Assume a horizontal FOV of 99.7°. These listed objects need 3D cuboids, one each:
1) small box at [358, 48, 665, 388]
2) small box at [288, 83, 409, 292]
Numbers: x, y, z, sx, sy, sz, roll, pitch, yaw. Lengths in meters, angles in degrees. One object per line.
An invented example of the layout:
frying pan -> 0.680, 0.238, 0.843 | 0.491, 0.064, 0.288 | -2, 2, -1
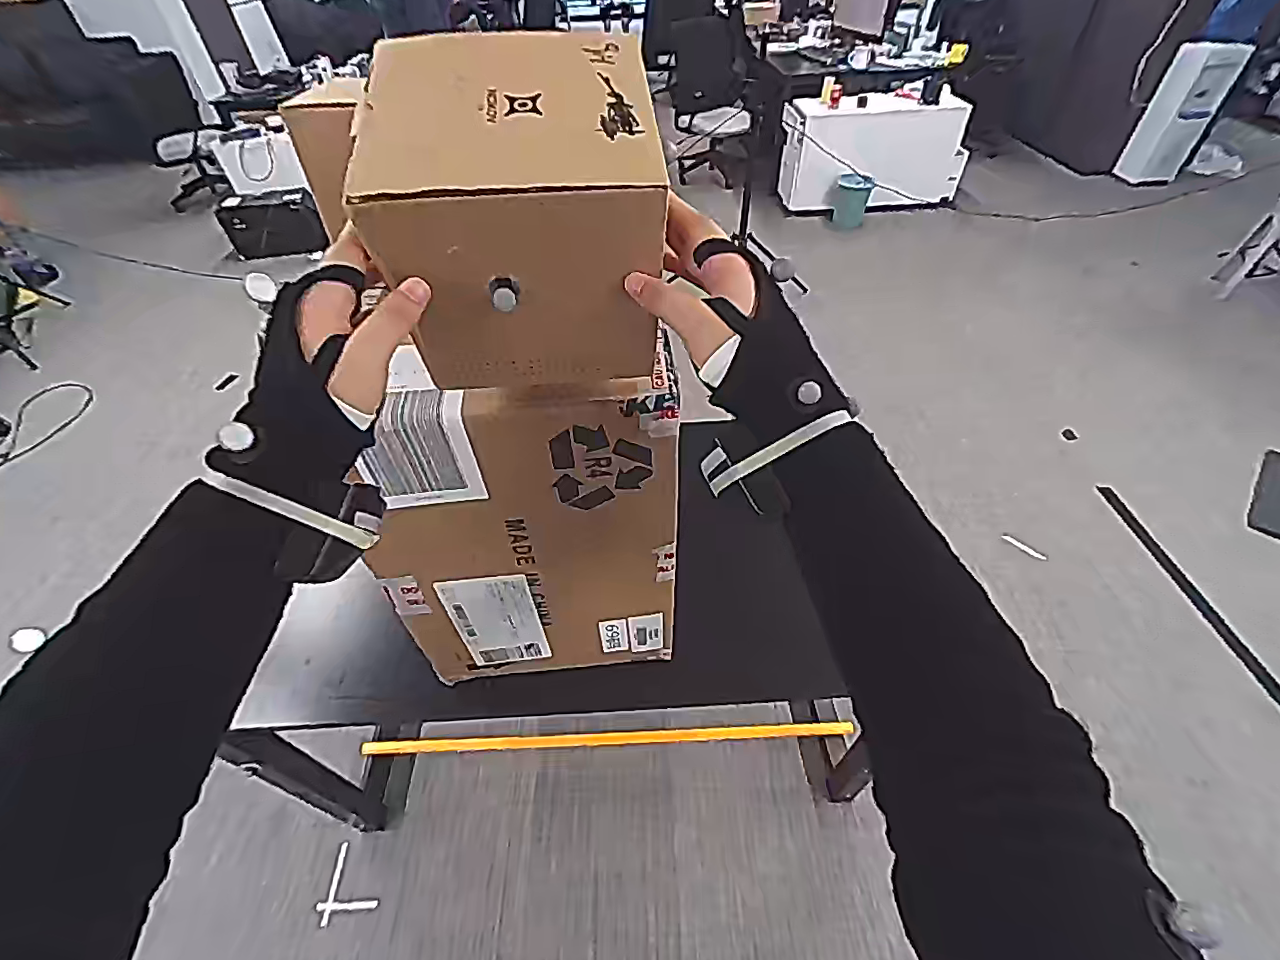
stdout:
small box -> -0.079, -0.185, 0.409 | 0.179, 0.176, 0.168 | -6, 62, -4
small box -> -0.235, -0.323, 0.599 | 0.179, 0.176, 0.168 | -5, 43, -4
